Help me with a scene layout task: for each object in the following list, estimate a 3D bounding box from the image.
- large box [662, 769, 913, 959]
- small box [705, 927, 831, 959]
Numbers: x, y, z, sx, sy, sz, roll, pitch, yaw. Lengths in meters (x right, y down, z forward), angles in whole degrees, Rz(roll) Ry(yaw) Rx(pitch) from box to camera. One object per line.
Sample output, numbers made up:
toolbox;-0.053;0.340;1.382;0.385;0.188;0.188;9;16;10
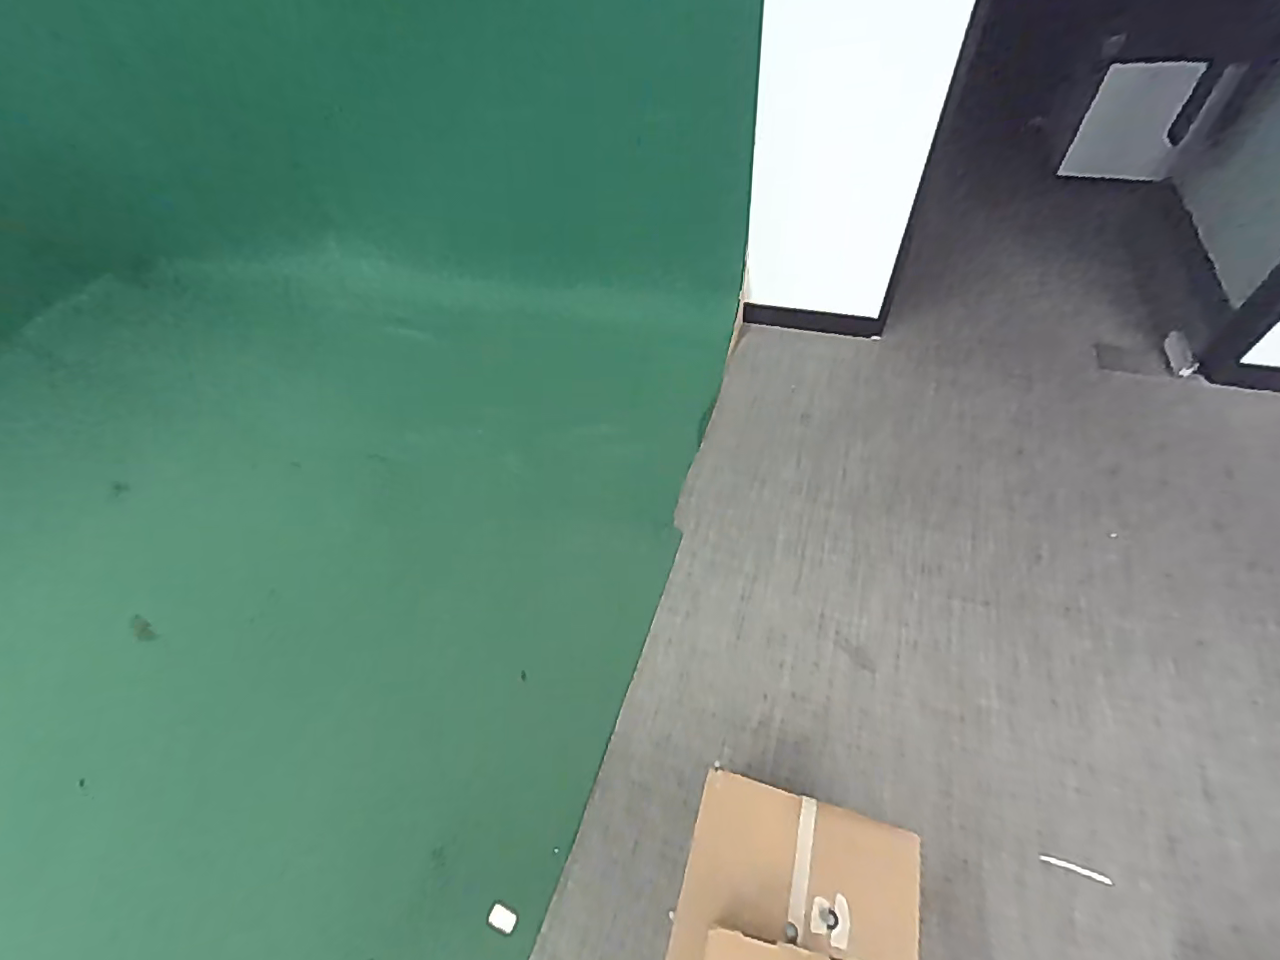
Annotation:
large box;0.205;0.732;0.822;0.320;0.320;0.408;12;53;15
small box;0.128;0.524;0.472;0.168;0.176;0.179;7;52;12
